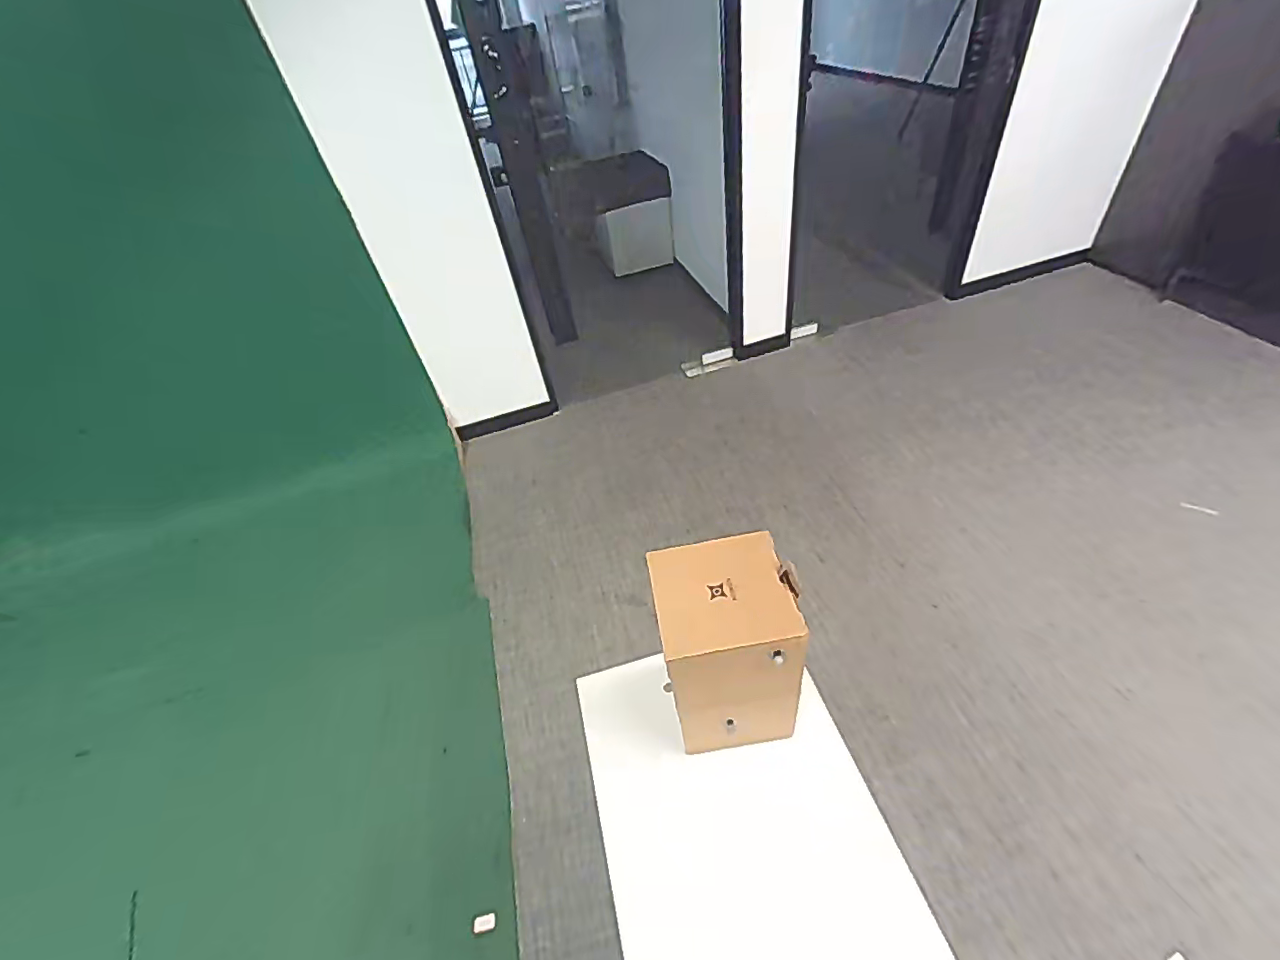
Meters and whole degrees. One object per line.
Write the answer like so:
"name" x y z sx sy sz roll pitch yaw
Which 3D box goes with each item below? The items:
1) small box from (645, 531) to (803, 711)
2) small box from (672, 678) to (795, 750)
"small box" 0.111 0.198 0.749 0.179 0.176 0.168 -10 44 -1
"small box" 0.136 0.311 0.864 0.179 0.176 0.168 -10 44 1
